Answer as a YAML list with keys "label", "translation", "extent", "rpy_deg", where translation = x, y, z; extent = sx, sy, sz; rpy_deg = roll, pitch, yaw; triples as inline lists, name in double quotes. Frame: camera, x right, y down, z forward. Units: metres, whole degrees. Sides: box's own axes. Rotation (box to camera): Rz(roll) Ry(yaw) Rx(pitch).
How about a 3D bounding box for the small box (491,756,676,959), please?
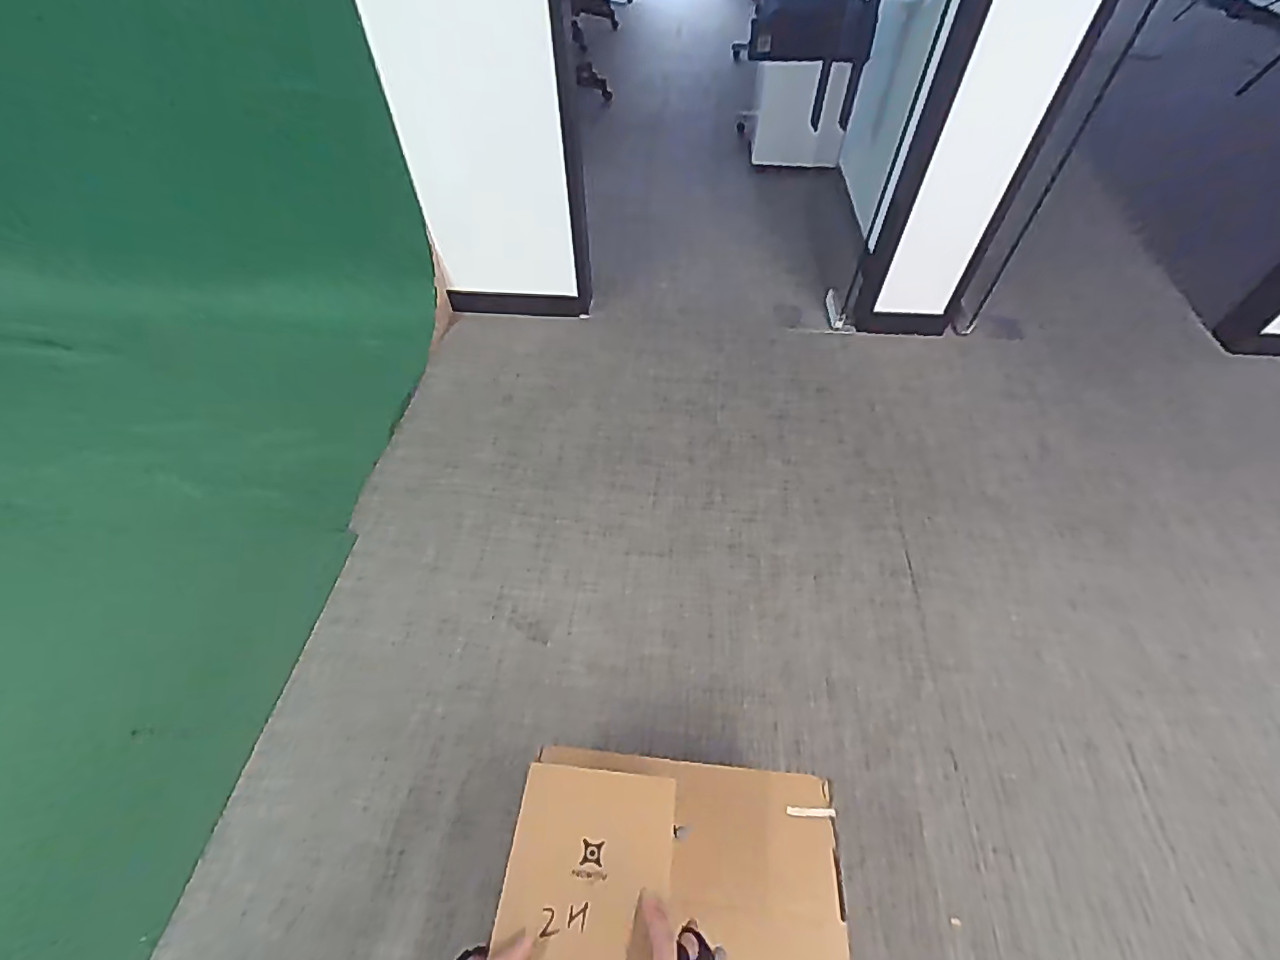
- label: "small box"
  translation: [-0.050, 0.438, 0.610]
  extent: [0.168, 0.176, 0.179]
  rpy_deg: [4, 48, 4]
